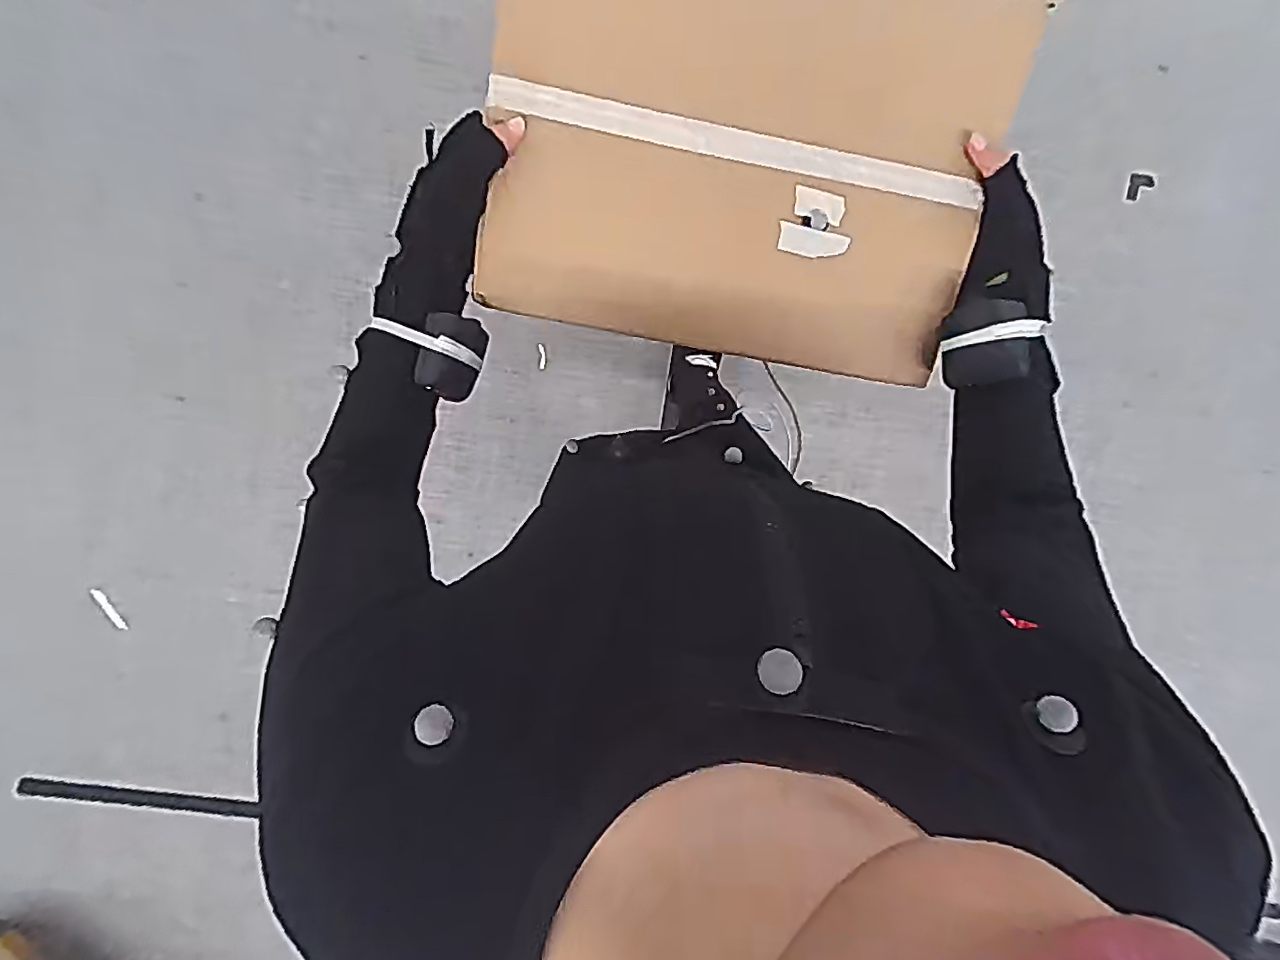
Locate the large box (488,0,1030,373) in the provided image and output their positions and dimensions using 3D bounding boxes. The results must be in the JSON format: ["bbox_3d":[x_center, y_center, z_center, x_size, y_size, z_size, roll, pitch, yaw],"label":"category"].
[{"bbox_3d":[0.078,-0.316,0.586,0.408,0.320,0.320,9,108,-6],"label":"large box"}]
